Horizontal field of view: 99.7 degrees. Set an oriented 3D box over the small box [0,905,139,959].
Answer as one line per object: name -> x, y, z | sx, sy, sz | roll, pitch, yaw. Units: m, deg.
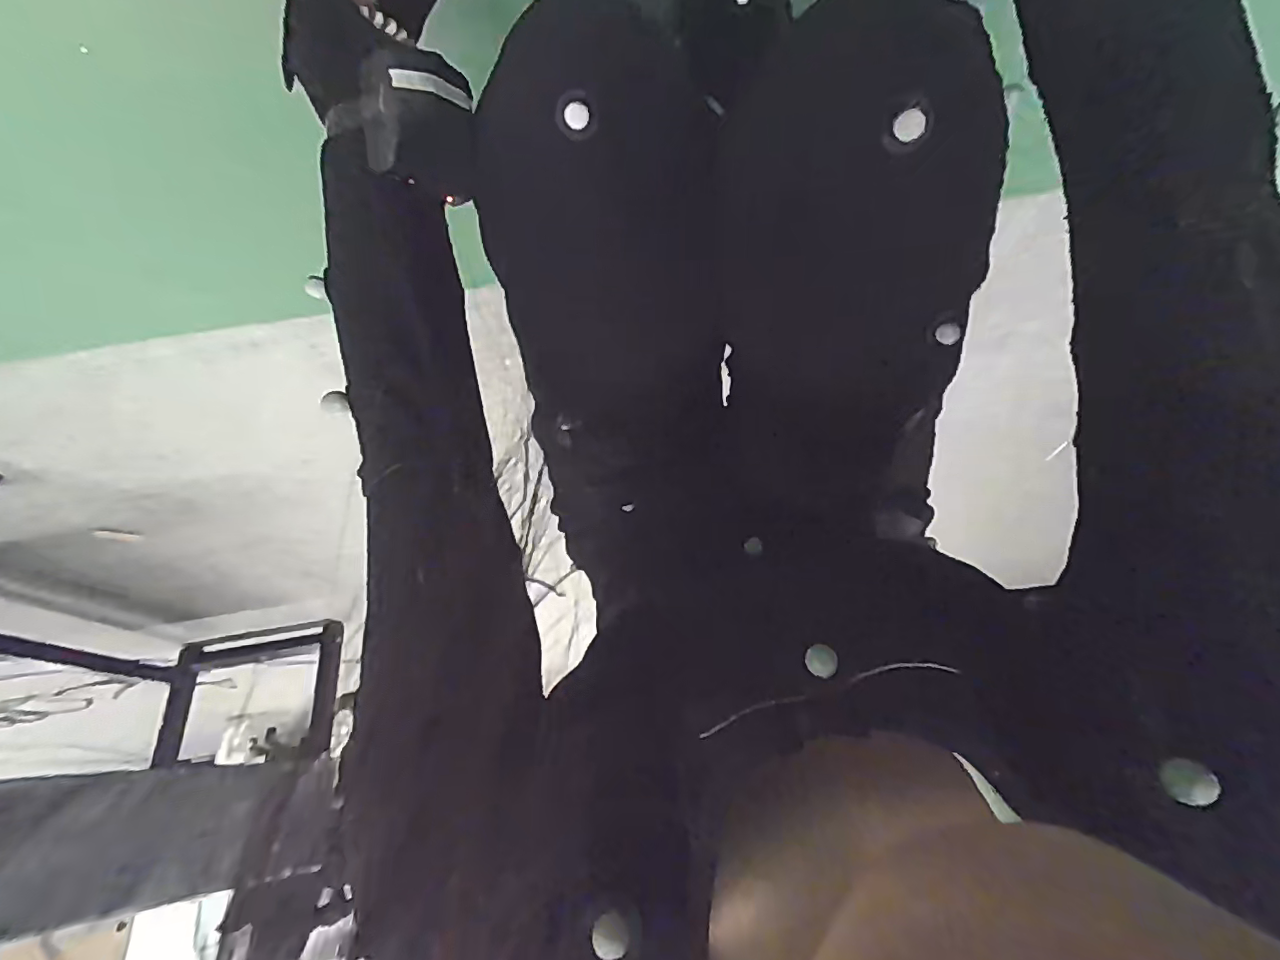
small box -> -1.179, 0.990, 1.098 | 0.179, 0.176, 0.168 | -9, 151, 1
